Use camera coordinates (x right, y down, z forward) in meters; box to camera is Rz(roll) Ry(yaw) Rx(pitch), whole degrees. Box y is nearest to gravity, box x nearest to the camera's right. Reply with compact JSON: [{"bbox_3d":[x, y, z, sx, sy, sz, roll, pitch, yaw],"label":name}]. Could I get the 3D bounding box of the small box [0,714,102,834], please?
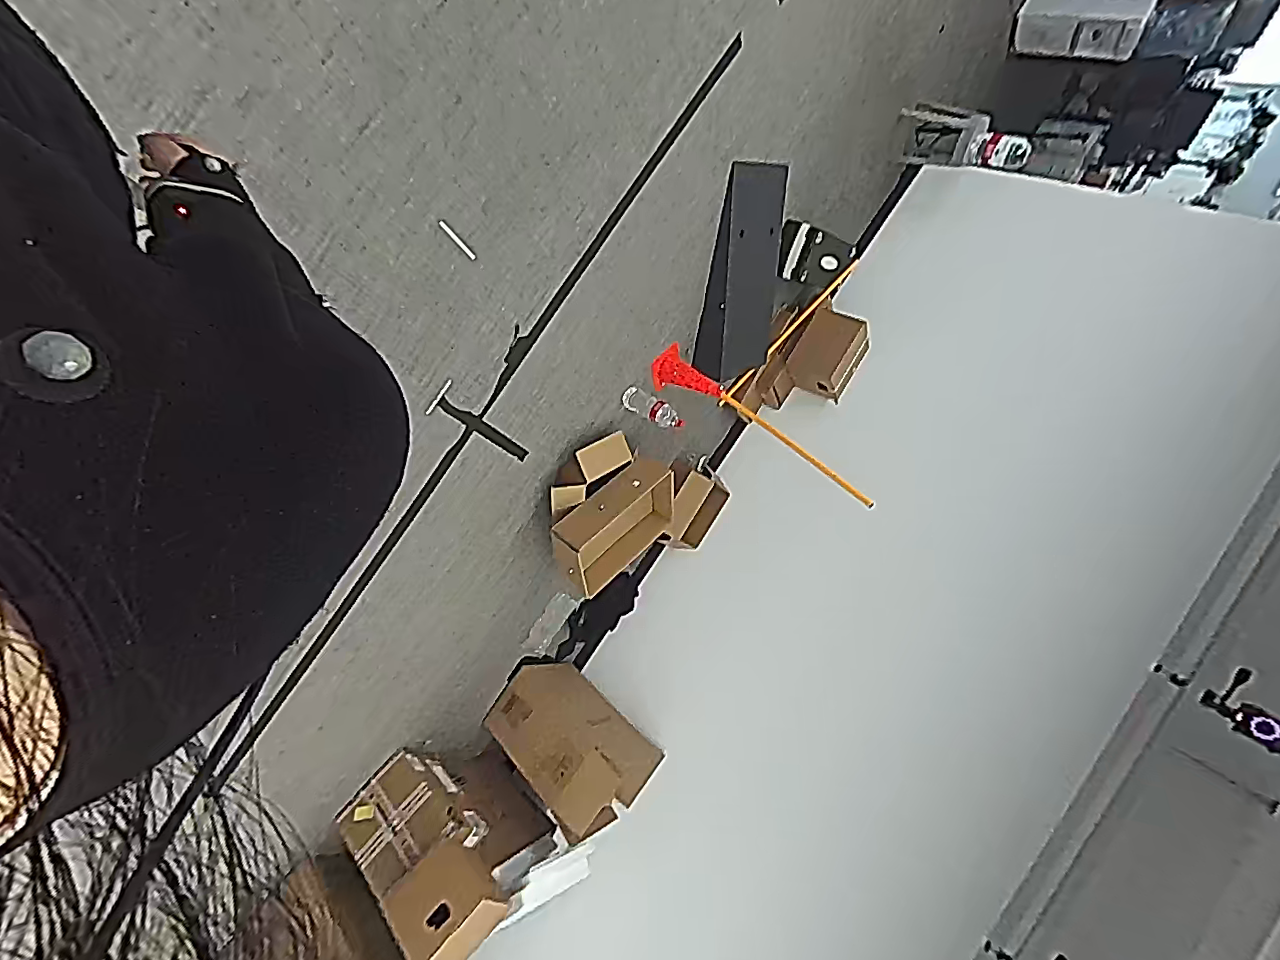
[{"bbox_3d":[-1.495,0.719,1.348,0.168,0.176,0.179,-20,136,-46],"label":"small box"}]
